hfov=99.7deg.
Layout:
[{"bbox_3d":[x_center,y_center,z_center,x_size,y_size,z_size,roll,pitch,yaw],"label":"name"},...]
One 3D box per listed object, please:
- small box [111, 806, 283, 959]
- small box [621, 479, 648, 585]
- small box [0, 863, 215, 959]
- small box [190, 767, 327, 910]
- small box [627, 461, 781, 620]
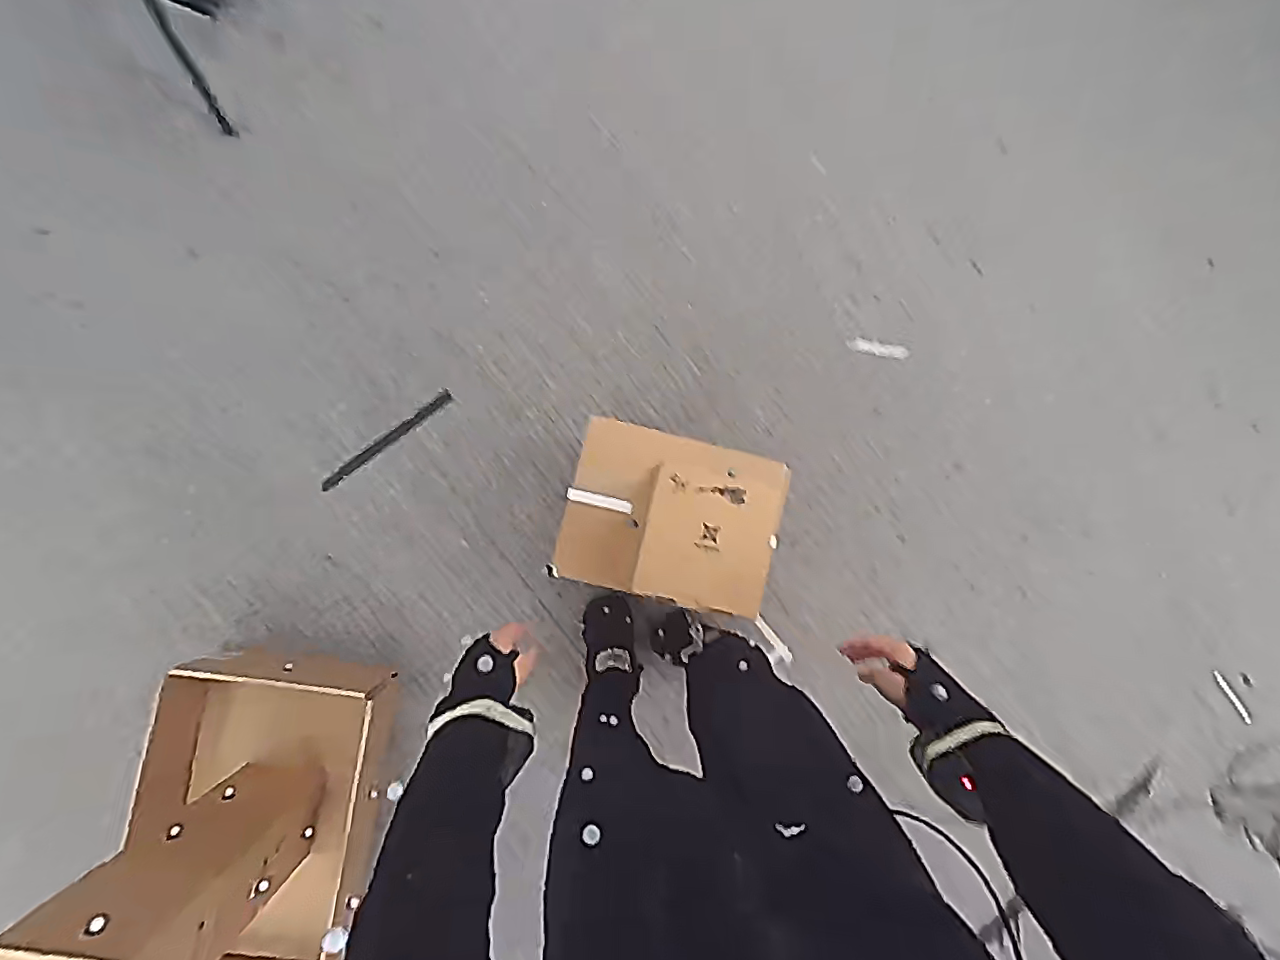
[{"bbox_3d":[-0.754,0.684,0.913,0.179,0.176,0.168,11,85,-5],"label":"small box"},{"bbox_3d":[0.065,0.104,0.938,0.168,0.176,0.179,14,84,-4],"label":"small box"},{"bbox_3d":[-0.745,0.672,0.750,0.179,0.176,0.168,10,85,-3],"label":"small box"},{"bbox_3d":[-0.767,0.698,1.074,0.179,0.176,0.168,13,85,-4],"label":"small box"},{"bbox_3d":[0.080,0.083,0.776,0.168,0.176,0.179,14,85,-5],"label":"small box"}]
